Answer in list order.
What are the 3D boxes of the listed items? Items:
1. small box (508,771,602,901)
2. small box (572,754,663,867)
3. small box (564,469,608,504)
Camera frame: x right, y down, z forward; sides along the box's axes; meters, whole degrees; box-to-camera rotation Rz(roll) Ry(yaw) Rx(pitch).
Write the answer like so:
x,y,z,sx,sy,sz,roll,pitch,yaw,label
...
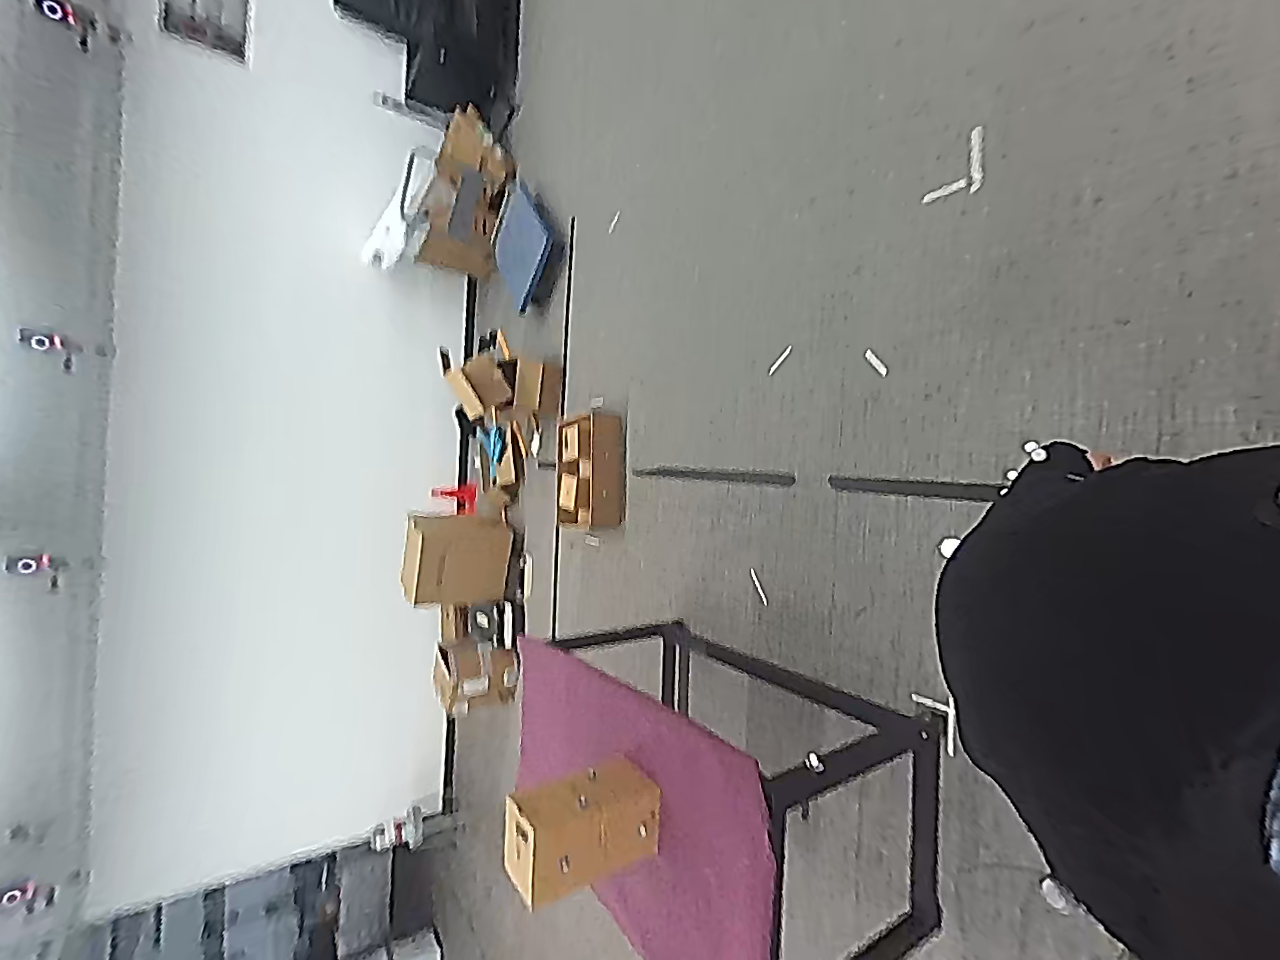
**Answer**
x,y,z,sx,sy,sz,roll,pitch,yaw,label
-0.199,0.822,1.273,0.168,0.176,0.179,2,91,56,small box
-0.063,0.819,1.366,0.179,0.176,0.168,5,93,56,small box
-0.295,0.037,2.952,0.179,0.176,0.168,14,98,55,small box
